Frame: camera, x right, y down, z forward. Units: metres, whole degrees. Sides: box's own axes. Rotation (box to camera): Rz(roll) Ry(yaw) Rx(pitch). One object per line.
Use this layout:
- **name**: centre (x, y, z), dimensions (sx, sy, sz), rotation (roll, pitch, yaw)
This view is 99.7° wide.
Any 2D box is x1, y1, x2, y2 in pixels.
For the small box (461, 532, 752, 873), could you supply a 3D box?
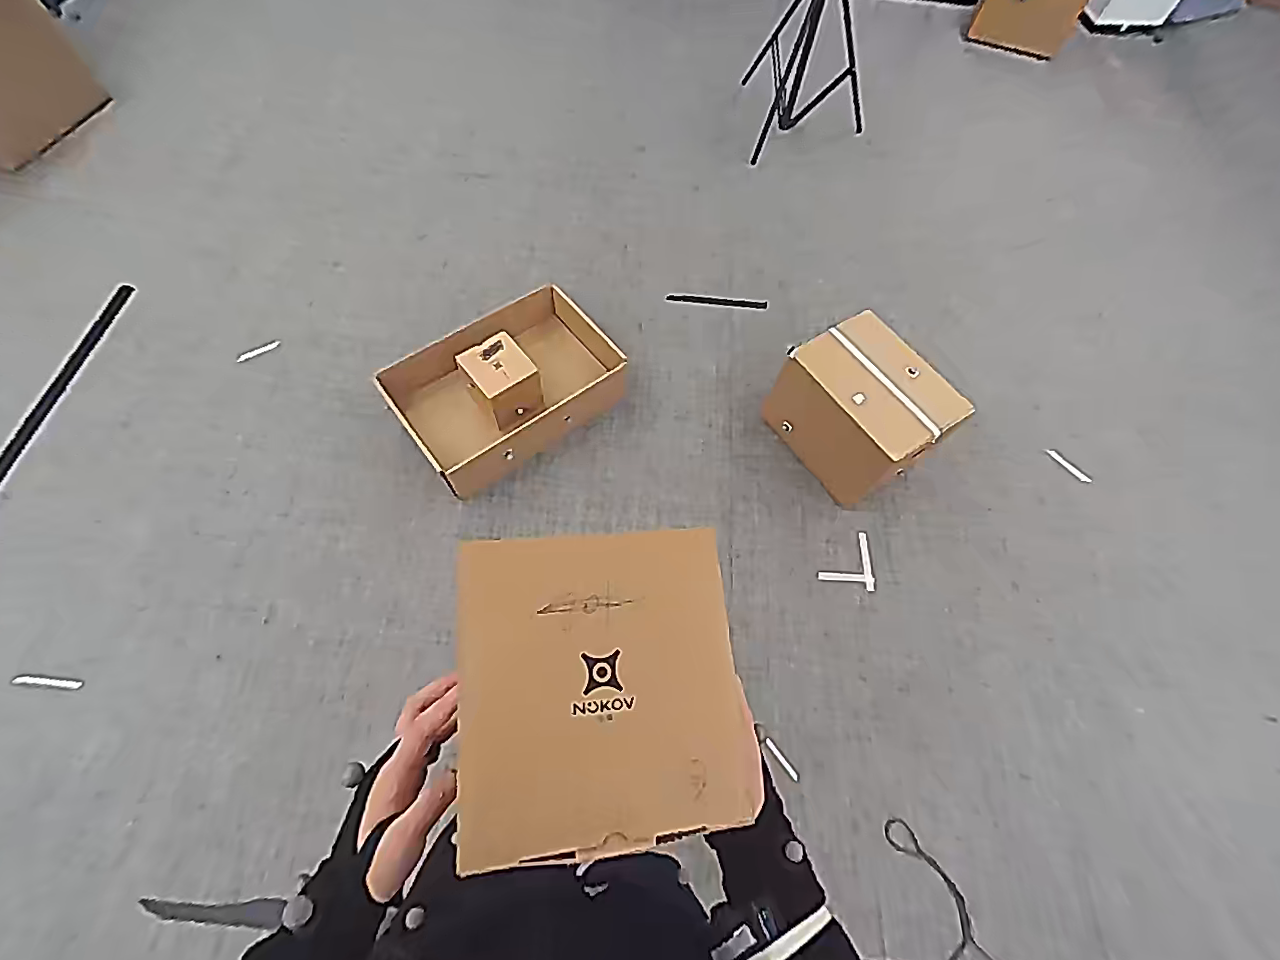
- **small box**: centre (-0.037, 0.146, 0.398), dimensions (0.168, 0.176, 0.179), rotation (-3, 71, -13)

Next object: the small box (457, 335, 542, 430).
- **small box**: centre (-0.405, -0.280, 1.582), dimensions (0.168, 0.176, 0.179), rotation (-36, 71, -19)
